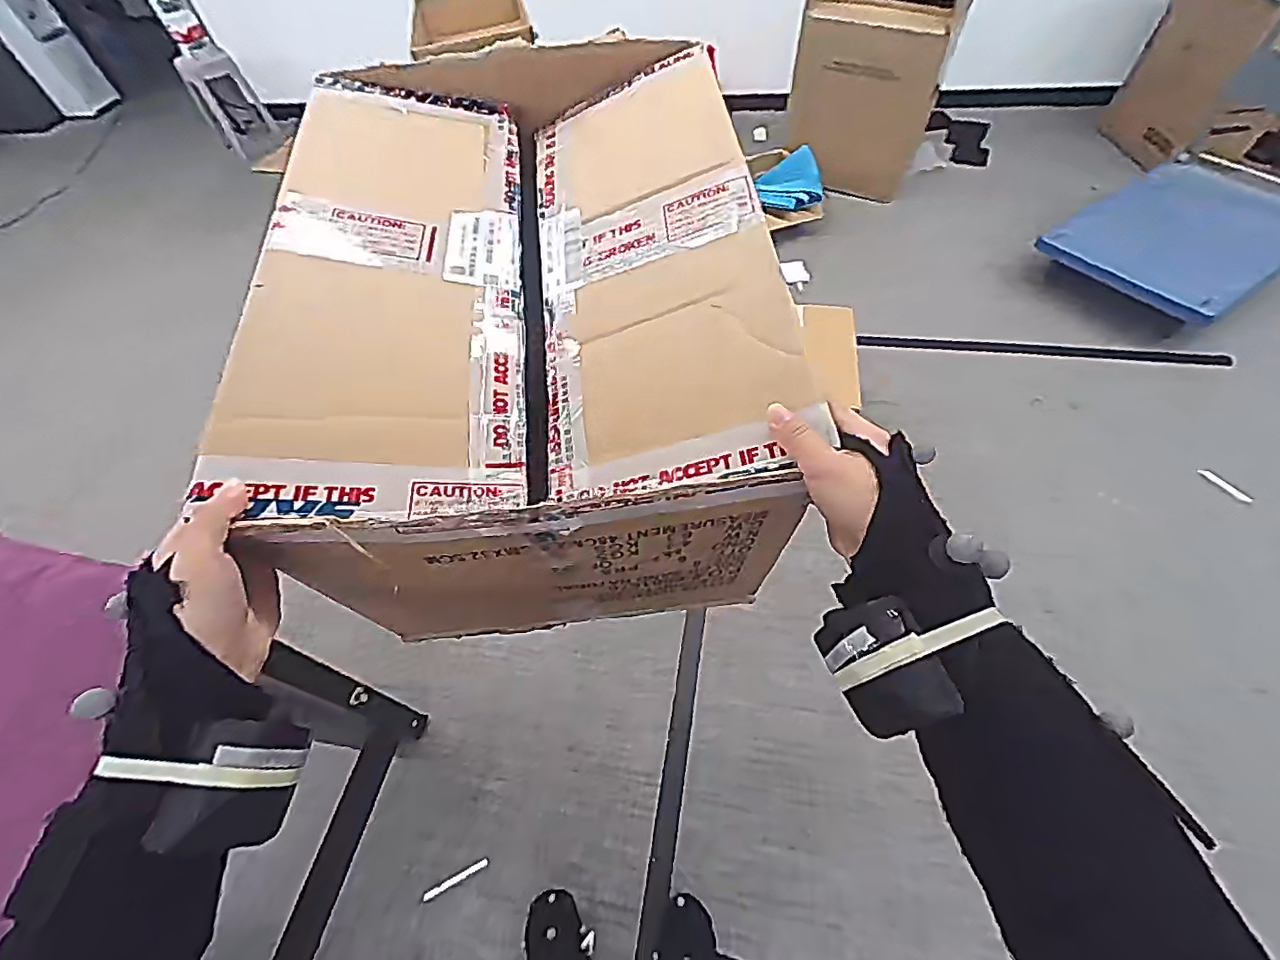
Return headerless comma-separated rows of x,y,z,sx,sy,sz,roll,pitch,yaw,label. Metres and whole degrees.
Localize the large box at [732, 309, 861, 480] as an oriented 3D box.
0.449,-0.257,1.624,0.320,0.320,0.408,4,56,9,large box
